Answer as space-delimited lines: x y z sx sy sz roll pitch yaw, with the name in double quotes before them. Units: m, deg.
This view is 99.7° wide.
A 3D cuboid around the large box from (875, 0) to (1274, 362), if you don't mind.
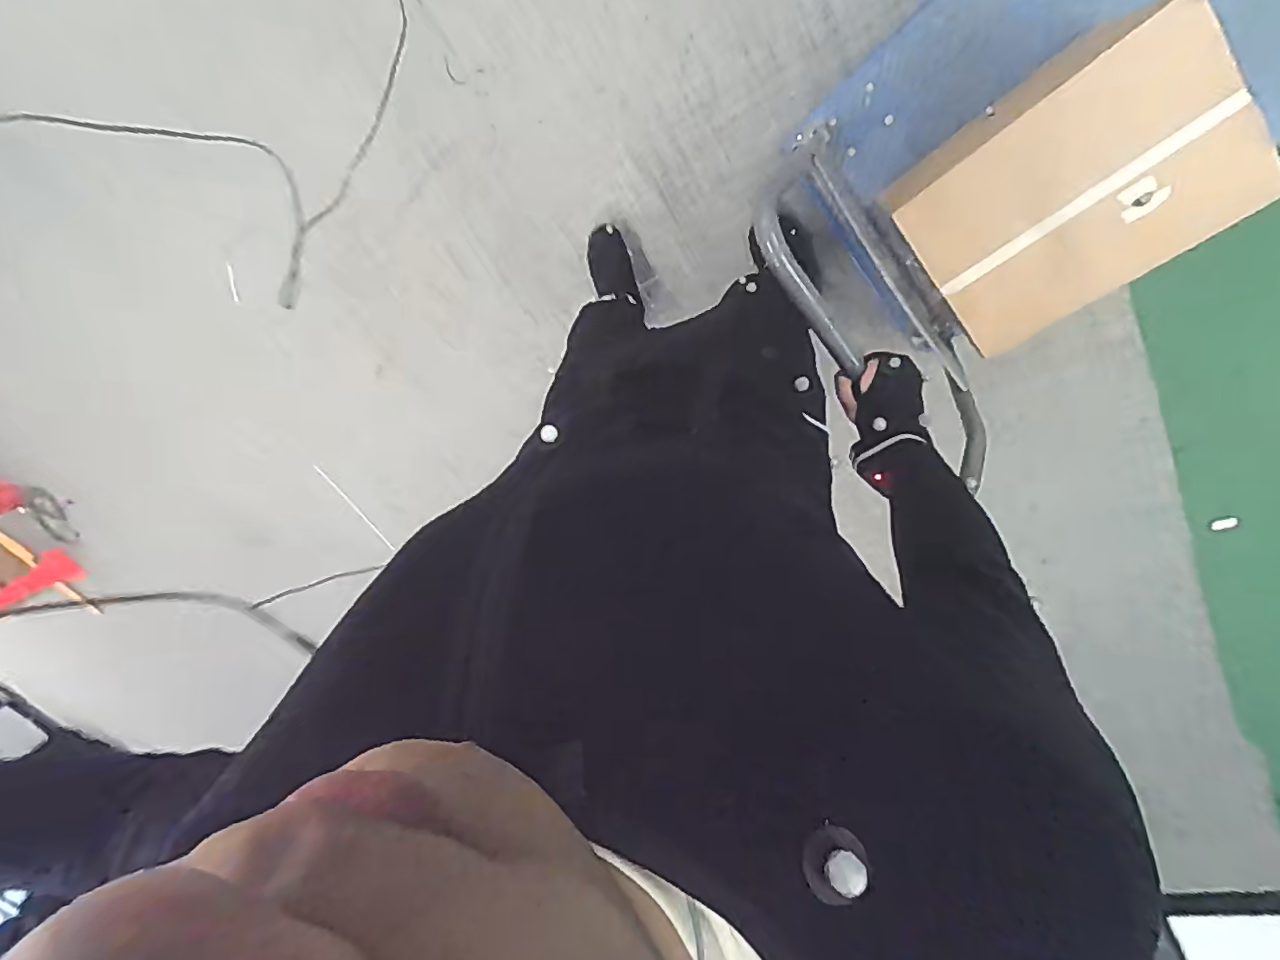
"large box" 0.688 -0.482 0.943 0.408 0.320 0.320 -33 107 31
